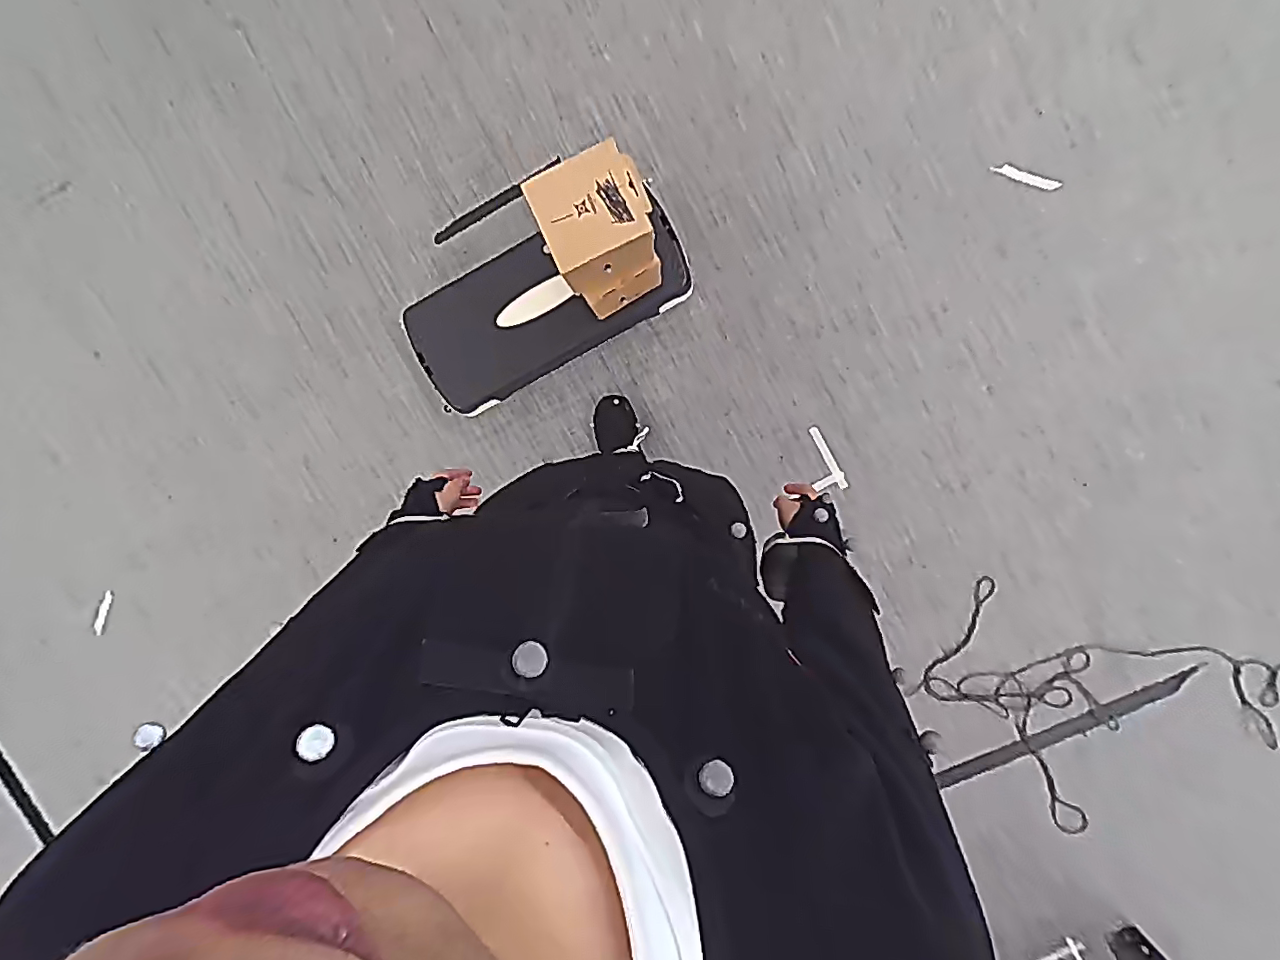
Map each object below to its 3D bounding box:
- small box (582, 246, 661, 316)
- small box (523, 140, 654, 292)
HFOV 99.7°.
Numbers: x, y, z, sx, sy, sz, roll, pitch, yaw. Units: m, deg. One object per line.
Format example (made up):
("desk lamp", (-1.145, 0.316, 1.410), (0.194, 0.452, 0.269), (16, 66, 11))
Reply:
("small box", (-0.069, -0.474, 1.148), (0.168, 0.176, 0.179), (-29, 95, 5))
("small box", (-0.085, -0.466, 0.983), (0.179, 0.176, 0.168), (-24, 96, 5))
